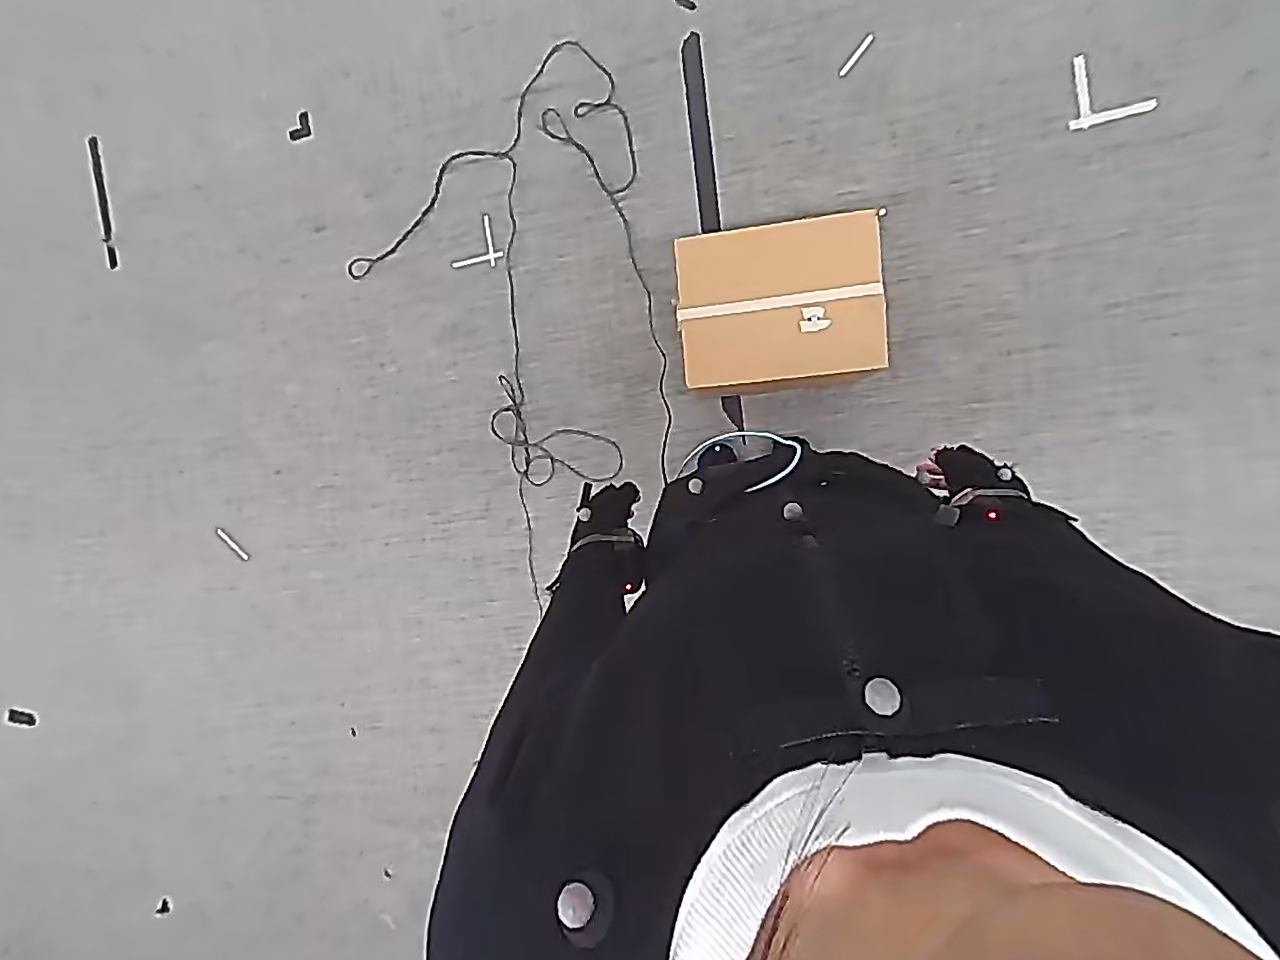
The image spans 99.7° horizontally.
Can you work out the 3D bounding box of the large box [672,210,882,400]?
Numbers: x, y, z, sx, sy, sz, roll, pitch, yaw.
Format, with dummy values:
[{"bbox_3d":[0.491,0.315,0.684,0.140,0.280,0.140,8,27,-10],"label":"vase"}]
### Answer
[{"bbox_3d":[0.297,-0.374,1.254,0.408,0.320,0.320,-5,94,9],"label":"large box"}]
